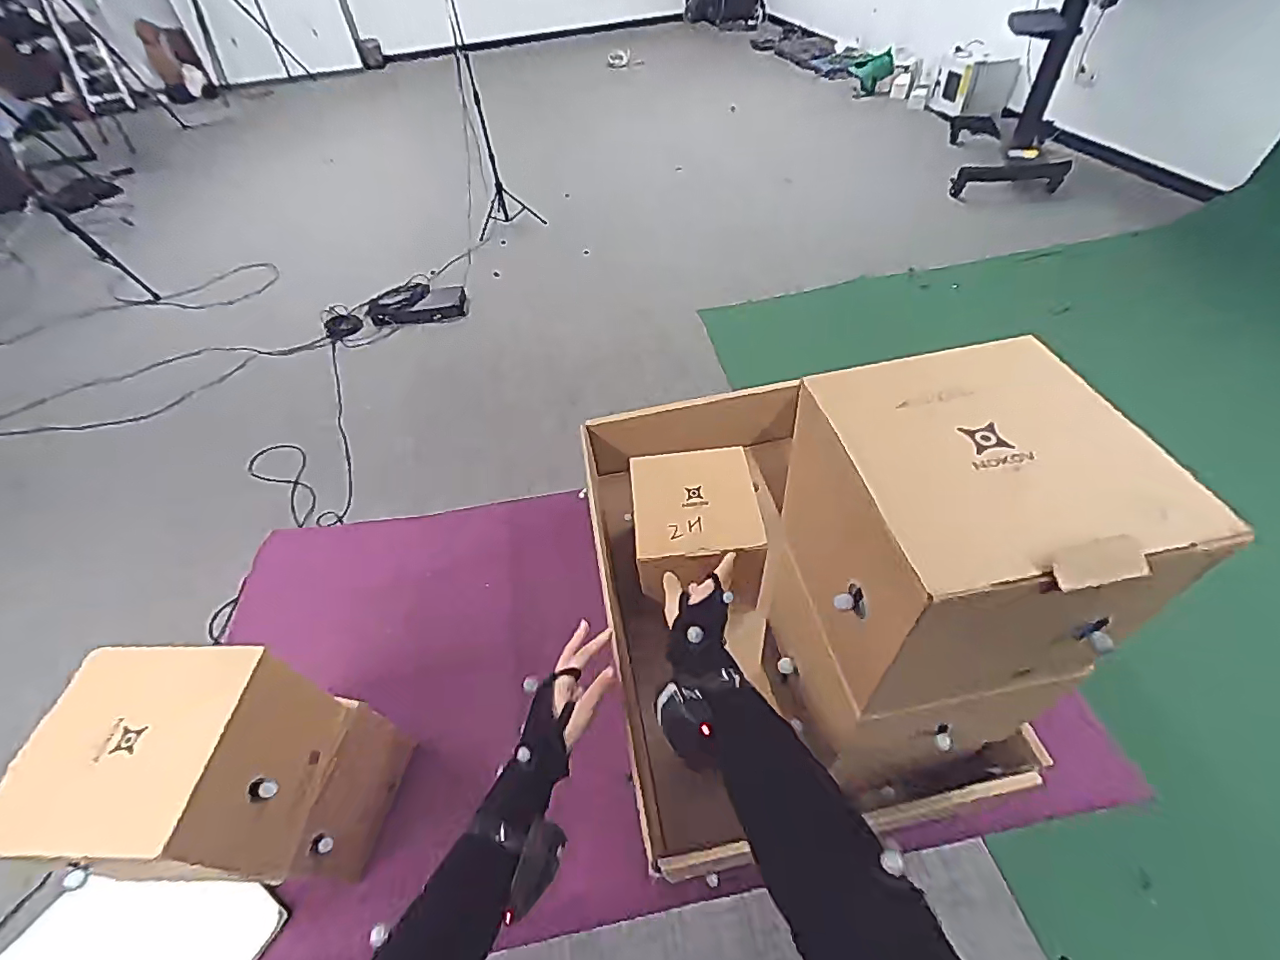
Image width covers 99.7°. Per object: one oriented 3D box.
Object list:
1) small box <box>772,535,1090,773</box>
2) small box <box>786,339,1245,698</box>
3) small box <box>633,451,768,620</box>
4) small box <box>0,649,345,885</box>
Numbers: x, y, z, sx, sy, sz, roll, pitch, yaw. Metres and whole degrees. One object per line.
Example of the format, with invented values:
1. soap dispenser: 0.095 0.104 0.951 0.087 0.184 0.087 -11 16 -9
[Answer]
1. small box: 0.232 0.145 0.491 0.179 0.176 0.168 -11 48 -1
2. small box: 0.211 0.033 0.374 0.168 0.176 0.179 -10 47 -1
3. small box: 0.080 0.082 0.786 0.168 0.176 0.179 -6 49 2
4. small box: -0.423 0.273 0.515 0.179 0.176 0.168 -3 48 5
